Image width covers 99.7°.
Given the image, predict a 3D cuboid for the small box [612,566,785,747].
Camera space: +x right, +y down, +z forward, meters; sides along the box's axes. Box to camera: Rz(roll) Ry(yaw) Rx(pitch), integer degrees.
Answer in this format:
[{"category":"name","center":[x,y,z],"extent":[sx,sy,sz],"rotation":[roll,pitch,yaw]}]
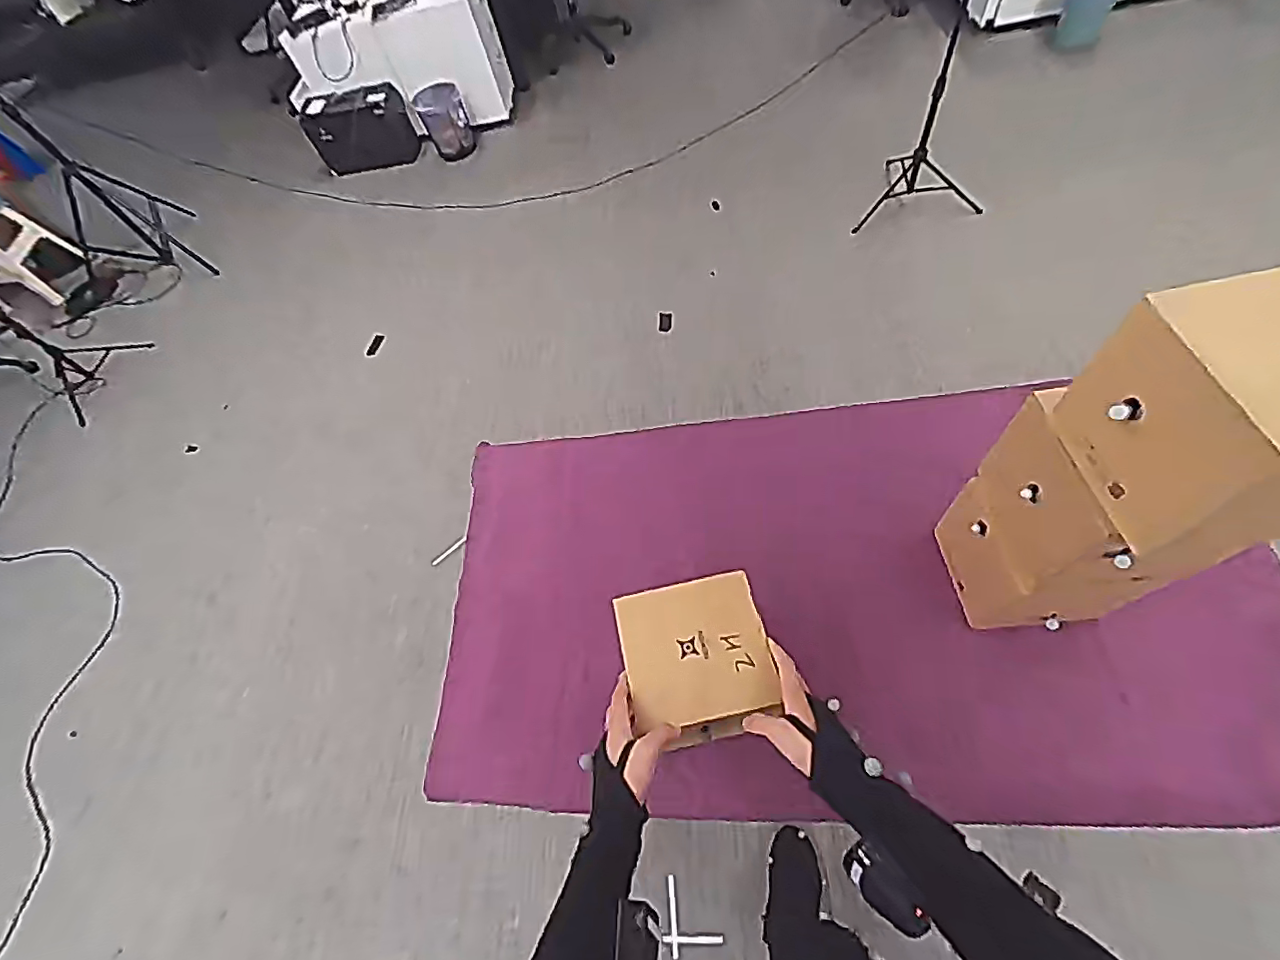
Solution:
[{"category":"small box","center":[0.071,0.237,0.706],"extent":[0.179,0.176,0.168],"rotation":[-12,57,-2]}]

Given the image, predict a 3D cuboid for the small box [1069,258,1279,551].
[{"category":"small box","center":[0.498,-0.056,0.437],"extent":[0.179,0.176,0.168],"rotation":[-11,59,4]}]

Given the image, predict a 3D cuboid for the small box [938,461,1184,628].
[{"category":"small box","center":[0.540,0.091,0.727],"extent":[0.179,0.176,0.168],"rotation":[-8,59,6]}]
